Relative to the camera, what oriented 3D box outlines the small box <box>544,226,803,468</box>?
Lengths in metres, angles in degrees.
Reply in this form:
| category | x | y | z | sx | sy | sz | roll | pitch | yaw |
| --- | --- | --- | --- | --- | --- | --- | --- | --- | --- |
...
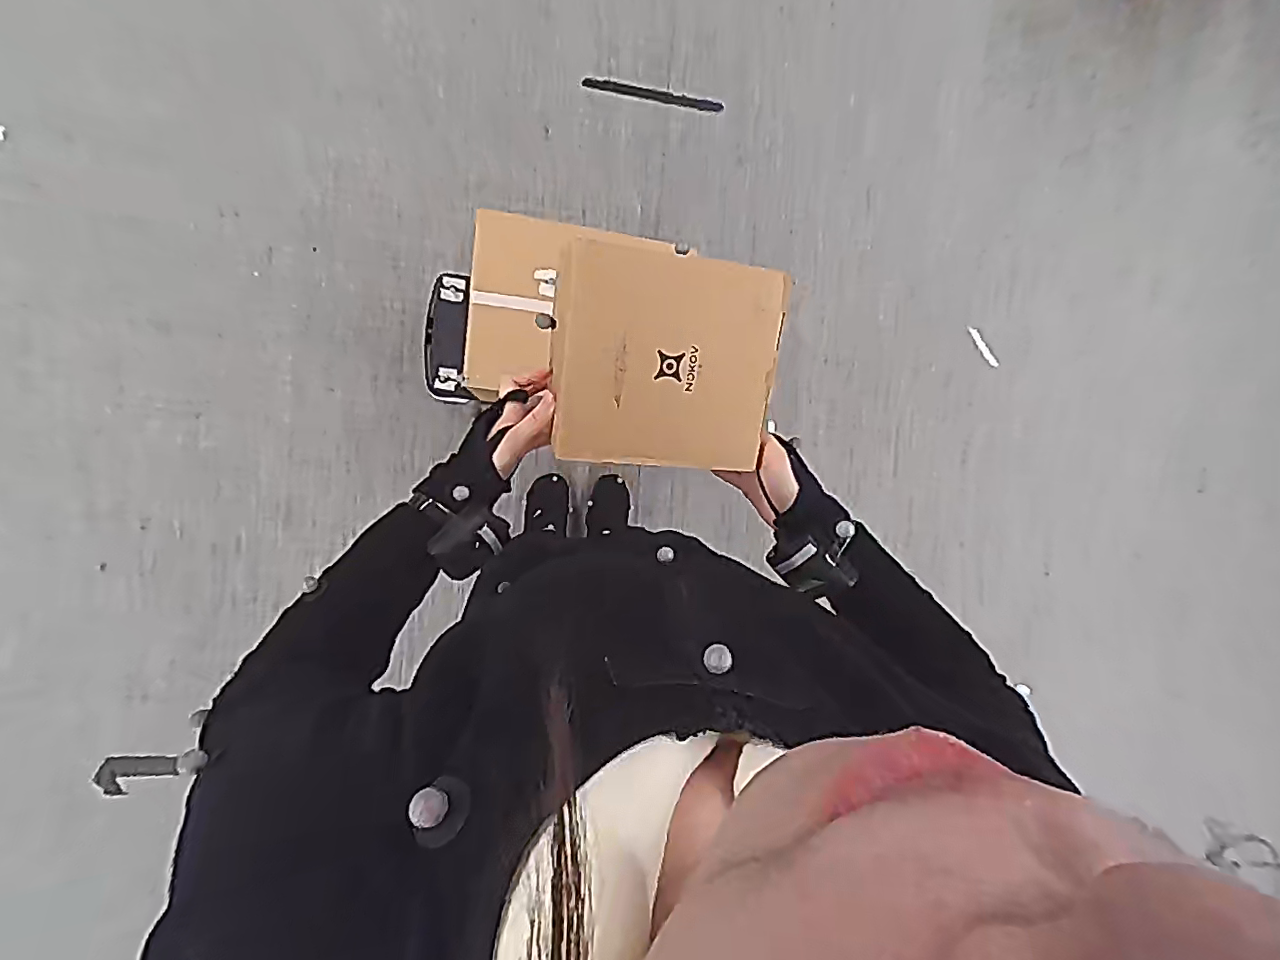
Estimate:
| category | x | y | z | sx | sy | sz | roll | pitch | yaw |
| --- | --- | --- | --- | --- | --- | --- | --- | --- | --- |
| small box | 0.013 | -0.117 | 0.484 | 0.179 | 0.176 | 0.168 | 3 | 107 | -14 |

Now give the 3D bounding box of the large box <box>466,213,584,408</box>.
| category | x | y | z | sx | sy | sz | roll | pitch | yaw |
| --- | --- | --- | --- | --- | --- | --- | --- | --- | --- |
| large box | -0.120 | -0.303 | 1.117 | 0.408 | 0.320 | 0.320 | 5 | 92 | -11 |

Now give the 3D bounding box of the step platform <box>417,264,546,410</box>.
| category | x | y | z | sx | sy | sz | roll | pitch | yaw |
| --- | --- | --- | --- | --- | --- | --- | --- | --- | --- |
| step platform | -0.185 | -0.302 | 1.348 | 0.684 | 0.204 | 0.286 | 11 | 91 | -11 |
